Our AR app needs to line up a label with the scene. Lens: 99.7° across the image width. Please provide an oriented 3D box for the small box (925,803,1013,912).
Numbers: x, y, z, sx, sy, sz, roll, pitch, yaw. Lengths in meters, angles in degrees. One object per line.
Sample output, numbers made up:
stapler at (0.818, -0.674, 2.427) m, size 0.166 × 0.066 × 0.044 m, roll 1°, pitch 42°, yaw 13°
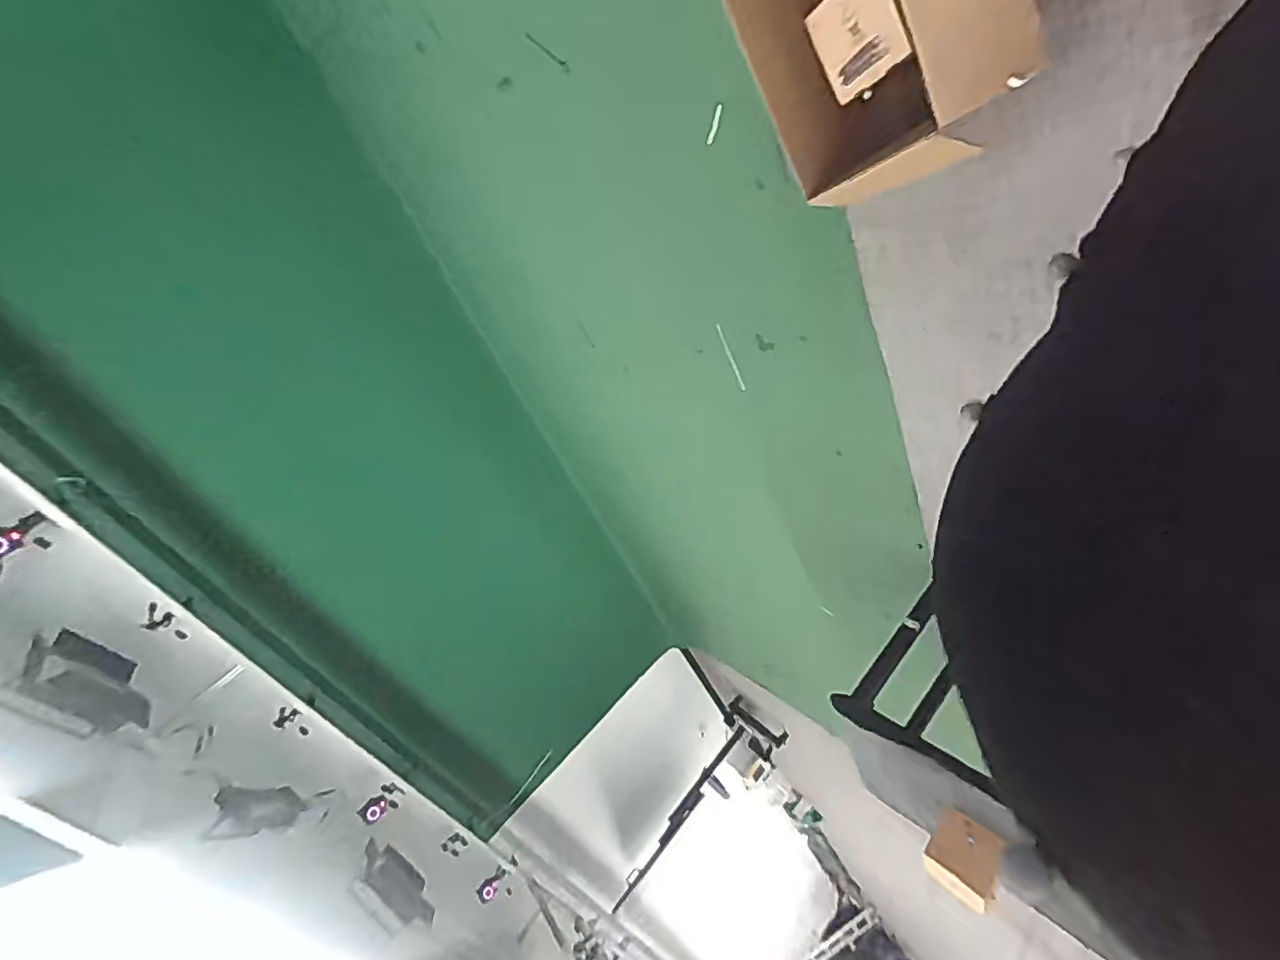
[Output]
small box at (0.950, 1.087, 1.563) m, size 0.168 × 0.176 × 0.179 m, roll 24°, pitch 147°, yaw 46°
